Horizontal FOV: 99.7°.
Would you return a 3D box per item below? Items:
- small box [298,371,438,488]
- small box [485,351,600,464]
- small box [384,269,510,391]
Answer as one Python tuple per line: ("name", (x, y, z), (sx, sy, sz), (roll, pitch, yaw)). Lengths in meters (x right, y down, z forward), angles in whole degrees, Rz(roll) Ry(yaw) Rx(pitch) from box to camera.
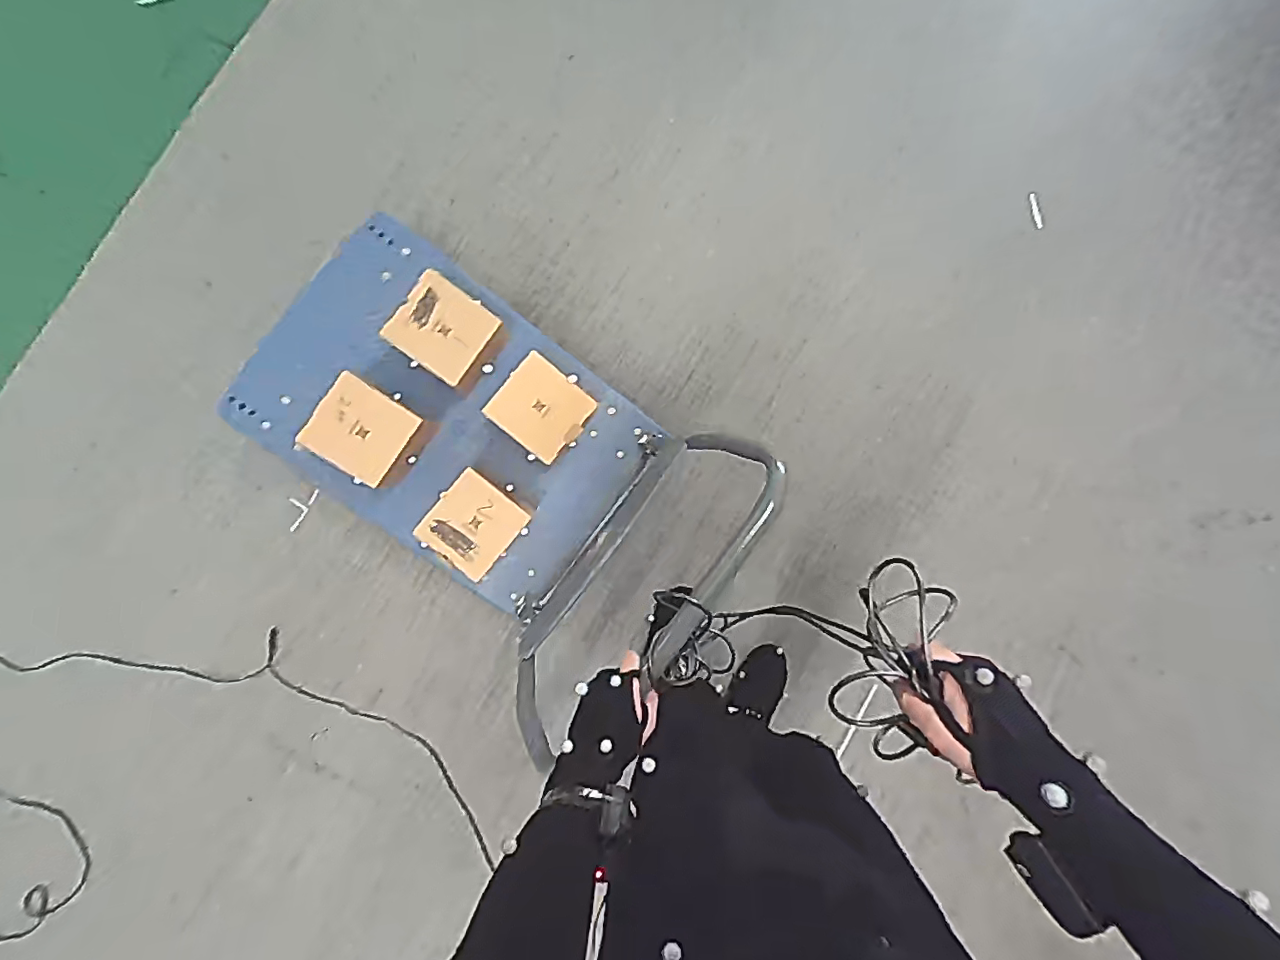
("small box", (-0.554, -0.102, 1.133), (0.179, 0.176, 0.168), (35, 87, -8))
("small box", (-0.210, -0.149, 1.180), (0.179, 0.176, 0.168), (40, 87, -8))
("small box", (-0.397, -0.305, 1.146), (0.179, 0.176, 0.168), (36, 88, -9))
